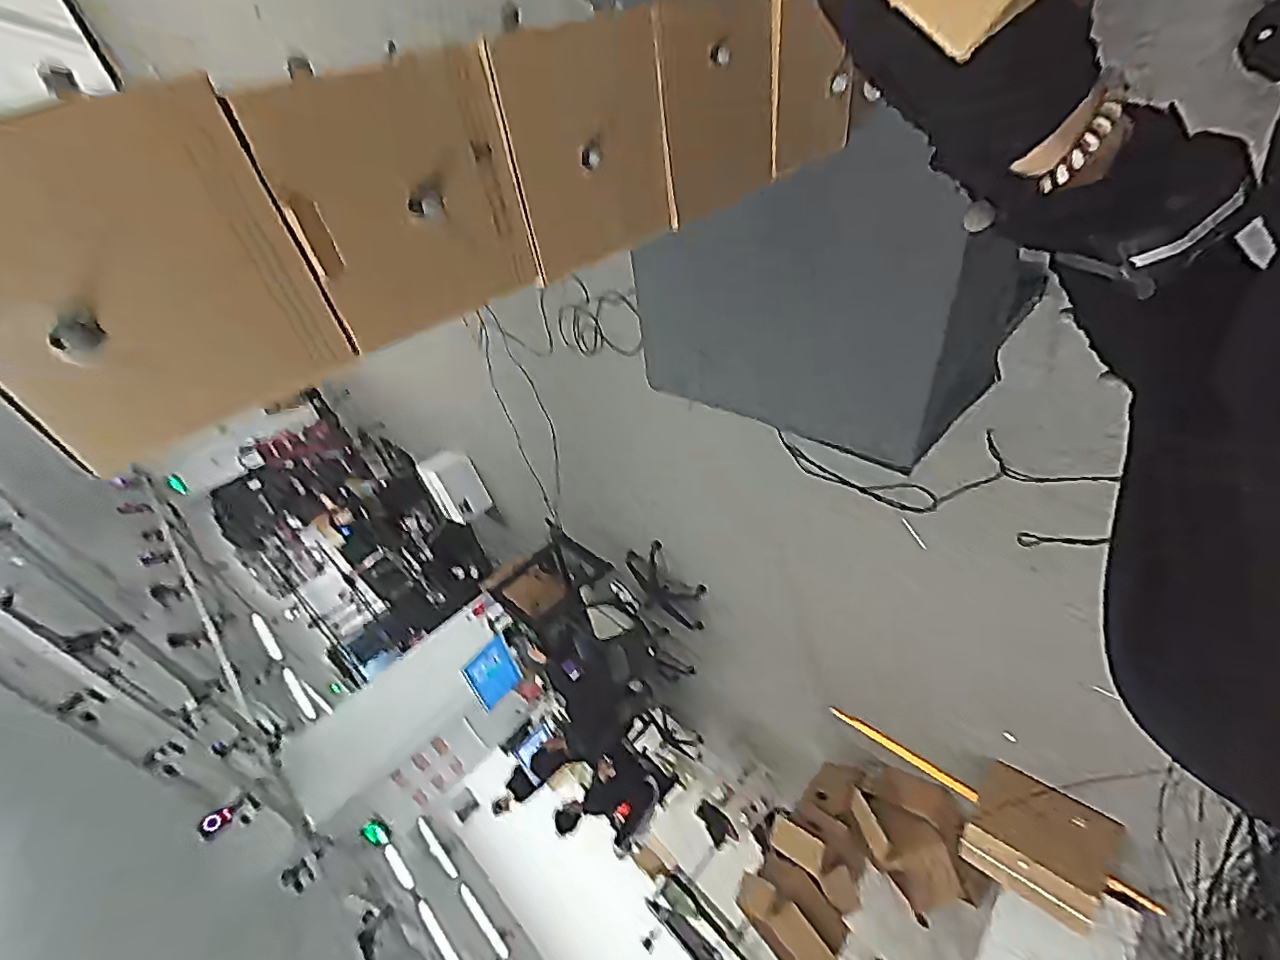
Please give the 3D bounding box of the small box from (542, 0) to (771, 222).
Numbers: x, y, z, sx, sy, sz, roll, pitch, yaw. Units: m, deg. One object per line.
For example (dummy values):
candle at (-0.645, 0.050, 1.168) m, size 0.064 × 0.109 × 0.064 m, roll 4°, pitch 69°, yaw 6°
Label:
small box at (0.027, -0.400, 0.584) m, size 0.168 × 0.176 × 0.179 m, roll 27°, pitch 142°, yaw 38°

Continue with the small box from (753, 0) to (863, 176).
small box at (0.141, -0.487, 0.660) m, size 0.179 × 0.176 × 0.168 m, roll 28°, pitch 142°, yaw 36°

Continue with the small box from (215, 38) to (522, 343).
small box at (-0.215, -0.235, 0.438) m, size 0.179 × 0.176 × 0.168 m, roll 28°, pitch 142°, yaw 38°

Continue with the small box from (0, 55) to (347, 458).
small box at (-0.330, -0.150, 0.354) m, size 0.168 × 0.176 × 0.179 m, roll 29°, pitch 143°, yaw 37°
